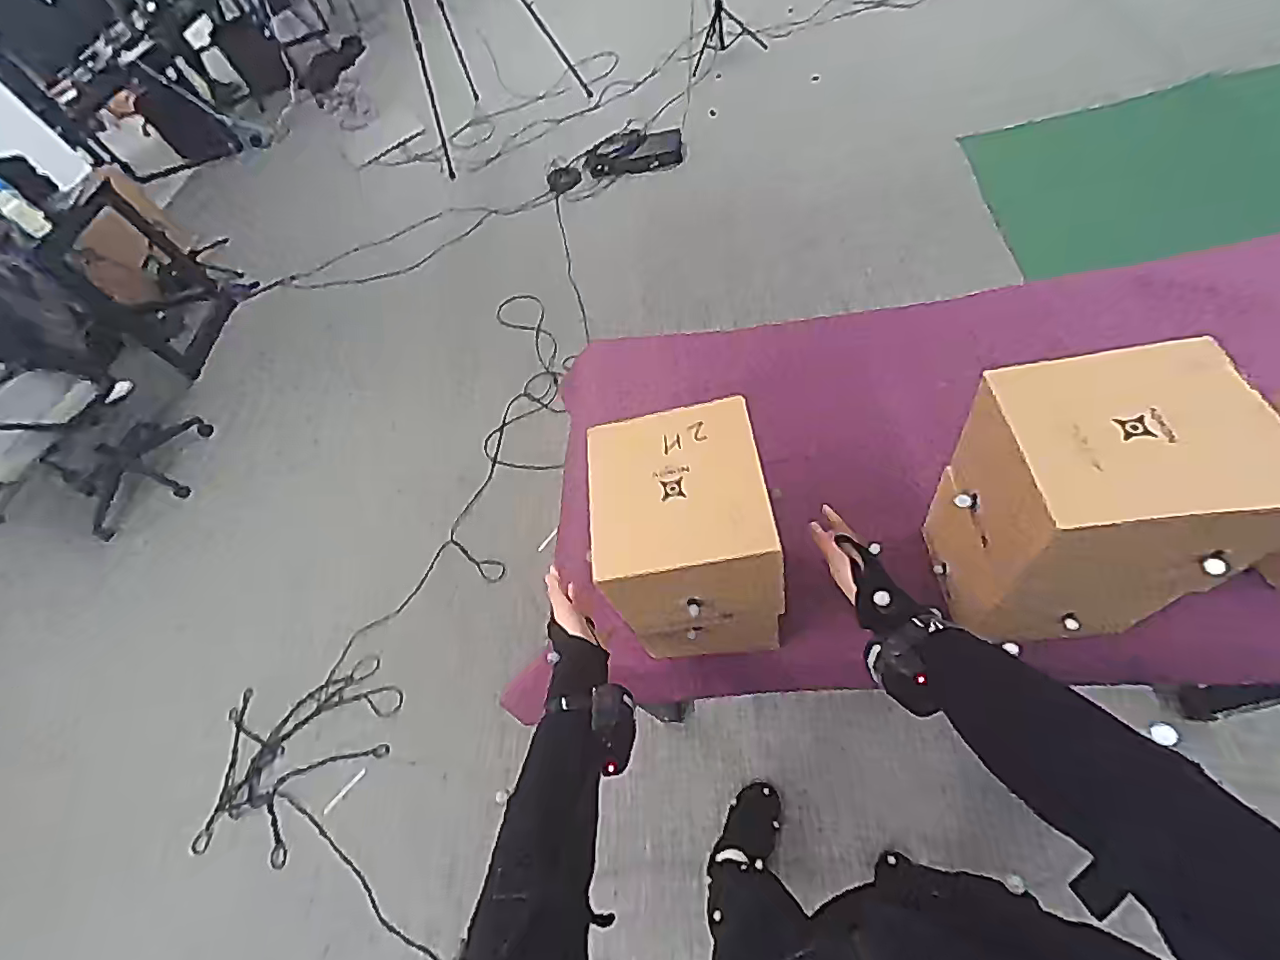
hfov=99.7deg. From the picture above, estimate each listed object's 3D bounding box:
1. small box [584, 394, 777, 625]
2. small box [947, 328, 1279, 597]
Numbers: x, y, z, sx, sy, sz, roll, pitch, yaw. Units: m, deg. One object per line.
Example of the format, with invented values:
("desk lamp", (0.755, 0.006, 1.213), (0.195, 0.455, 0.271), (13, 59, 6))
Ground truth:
("small box", (0.045, 0.043, 0.570), (0.168, 0.176, 0.179), (-11, 55, 9))
("small box", (0.407, -0.005, 0.488), (0.179, 0.176, 0.168), (-8, 54, 13))
